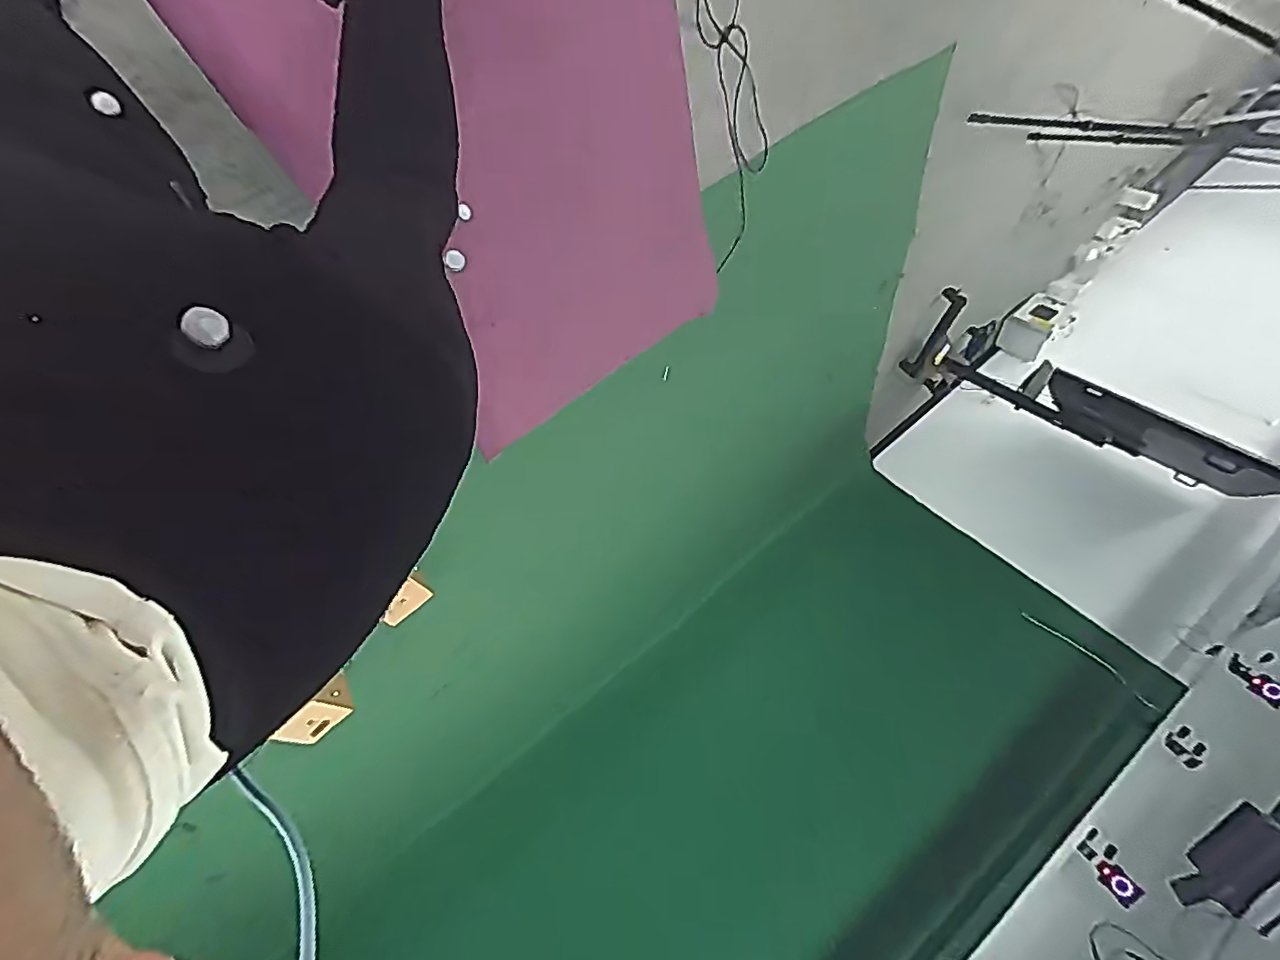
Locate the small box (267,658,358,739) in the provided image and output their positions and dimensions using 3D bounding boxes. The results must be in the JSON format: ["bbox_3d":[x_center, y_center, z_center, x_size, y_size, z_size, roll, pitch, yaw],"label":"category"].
[{"bbox_3d":[-1.057,0.701,1.741,0.168,0.176,0.179,-40,144,-6],"label":"small box"}]

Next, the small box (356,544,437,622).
[{"bbox_3d":[-0.853,0.357,1.891,0.179,0.176,0.168,-38,146,-11],"label":"small box"}]
